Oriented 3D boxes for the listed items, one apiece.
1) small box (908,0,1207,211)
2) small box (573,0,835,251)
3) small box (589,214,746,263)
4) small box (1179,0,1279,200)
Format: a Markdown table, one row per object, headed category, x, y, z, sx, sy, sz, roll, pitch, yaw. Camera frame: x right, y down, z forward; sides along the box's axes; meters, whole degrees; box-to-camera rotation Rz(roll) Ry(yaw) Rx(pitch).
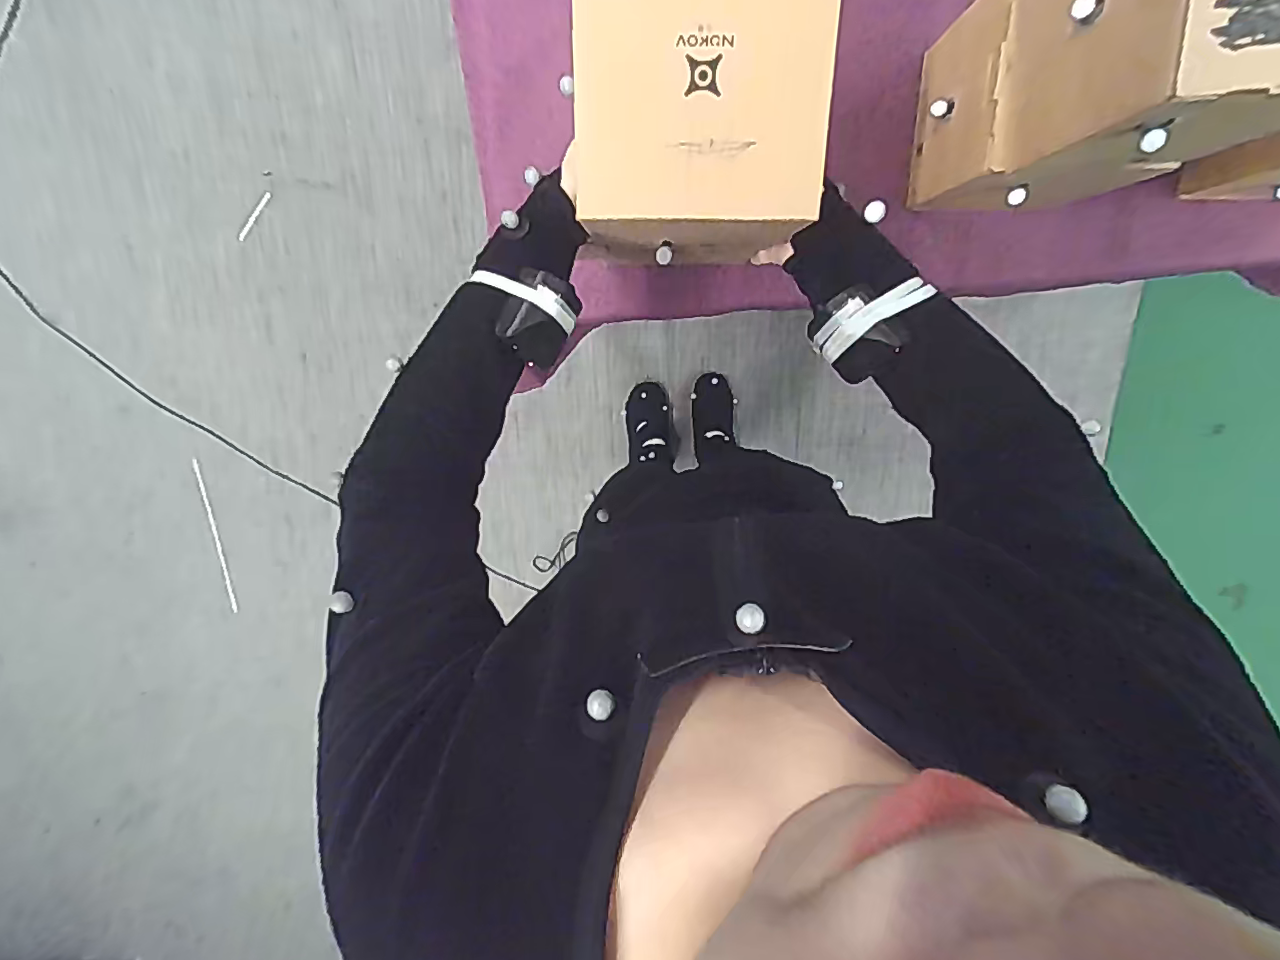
| category | x | y | z | sx | sy | sz | roll | pitch | yaw |
| --- | --- | --- | --- | --- | --- | --- | --- | --- | --- |
| small box | 0.402 | -0.384 | 0.556 | 0.179 | 0.176 | 0.168 | 0 | 105 | 2 |
| small box | 0.039 | -0.286 | 0.422 | 0.168 | 0.176 | 0.179 | 1 | 106 | 1 |
| small box | 0.039 | -0.330 | 0.580 | 0.179 | 0.176 | 0.168 | 0 | 105 | 0 |
| small box | 0.713 | -0.399 | 0.544 | 0.168 | 0.176 | 0.179 | 1 | 106 | 2 |
